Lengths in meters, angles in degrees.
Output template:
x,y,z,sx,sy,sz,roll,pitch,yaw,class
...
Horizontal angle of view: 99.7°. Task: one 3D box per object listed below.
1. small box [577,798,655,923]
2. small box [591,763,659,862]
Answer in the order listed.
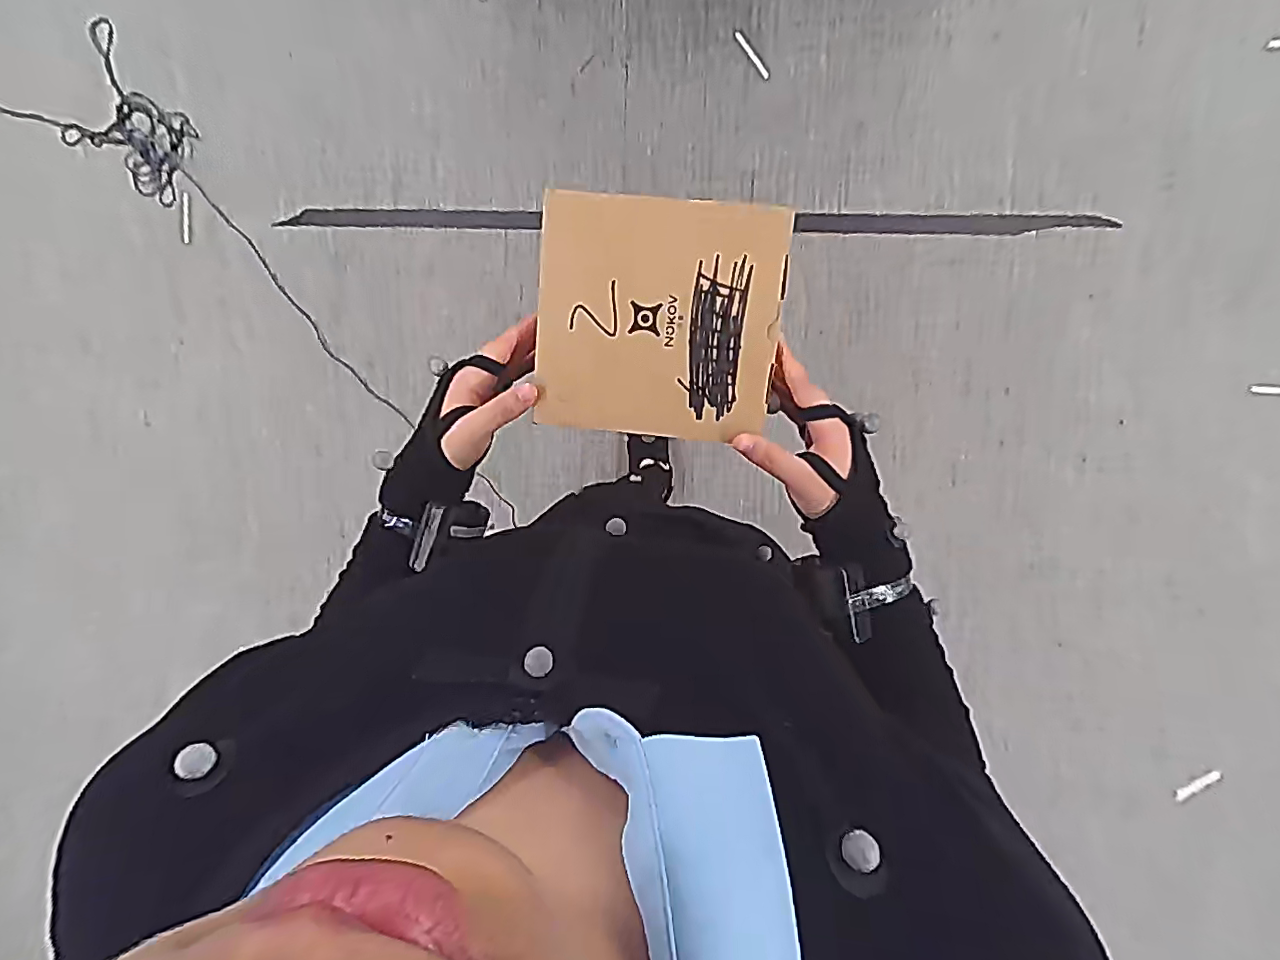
x,y,z,sx,sy,sz,roll,pitch,yaw,class
-0.052,0.900,1.289,0.168,0.176,0.179,-1,93,5,small box
-0.037,0.889,1.451,0.168,0.176,0.179,-2,94,6,small box
